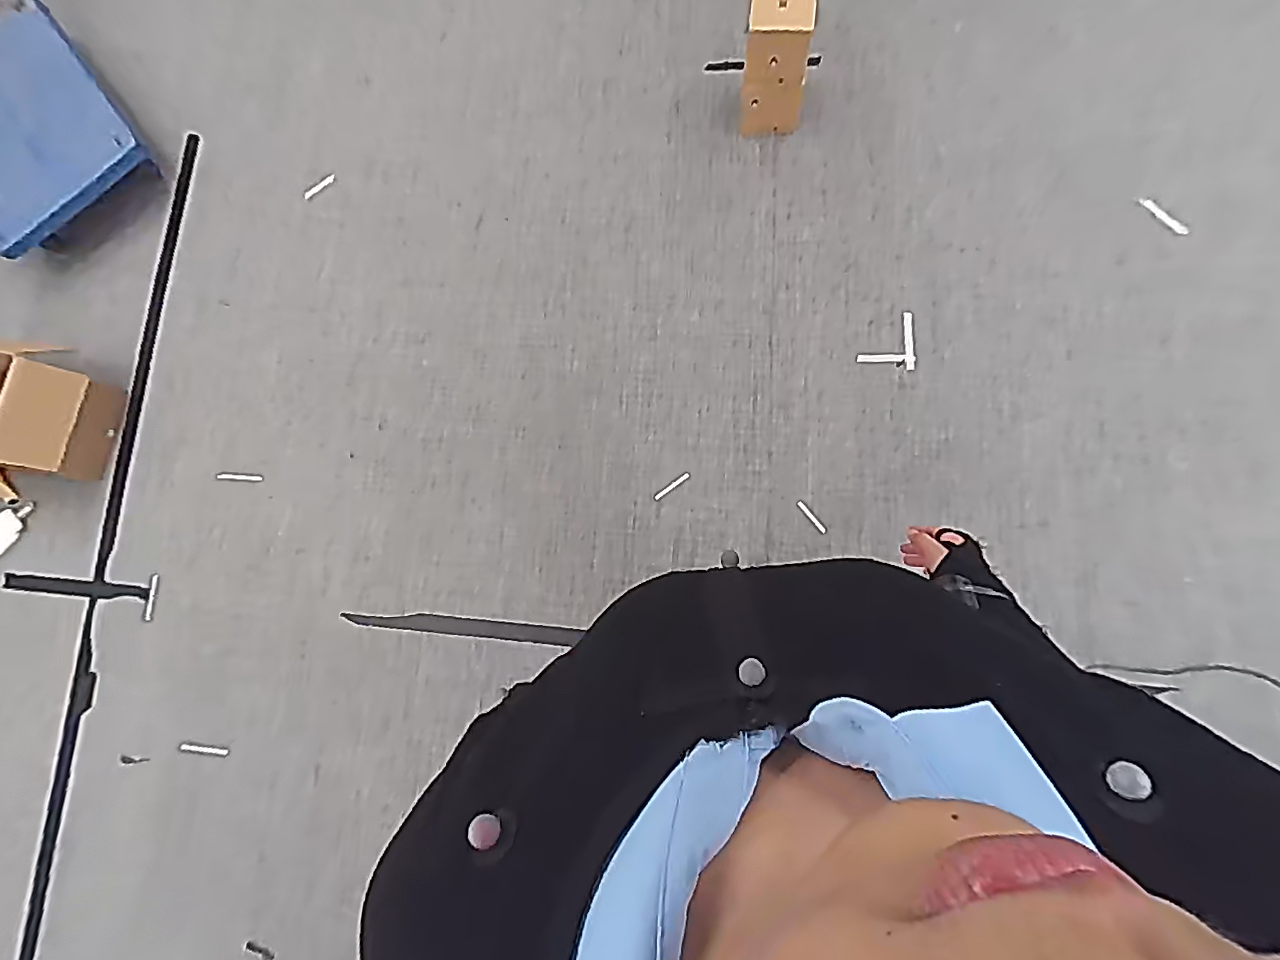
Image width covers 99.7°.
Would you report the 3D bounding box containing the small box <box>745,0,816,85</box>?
[{"bbox_3d":[0.380,-1.216,1.467,0.168,0.176,0.179,7,81,7],"label":"small box"}]
